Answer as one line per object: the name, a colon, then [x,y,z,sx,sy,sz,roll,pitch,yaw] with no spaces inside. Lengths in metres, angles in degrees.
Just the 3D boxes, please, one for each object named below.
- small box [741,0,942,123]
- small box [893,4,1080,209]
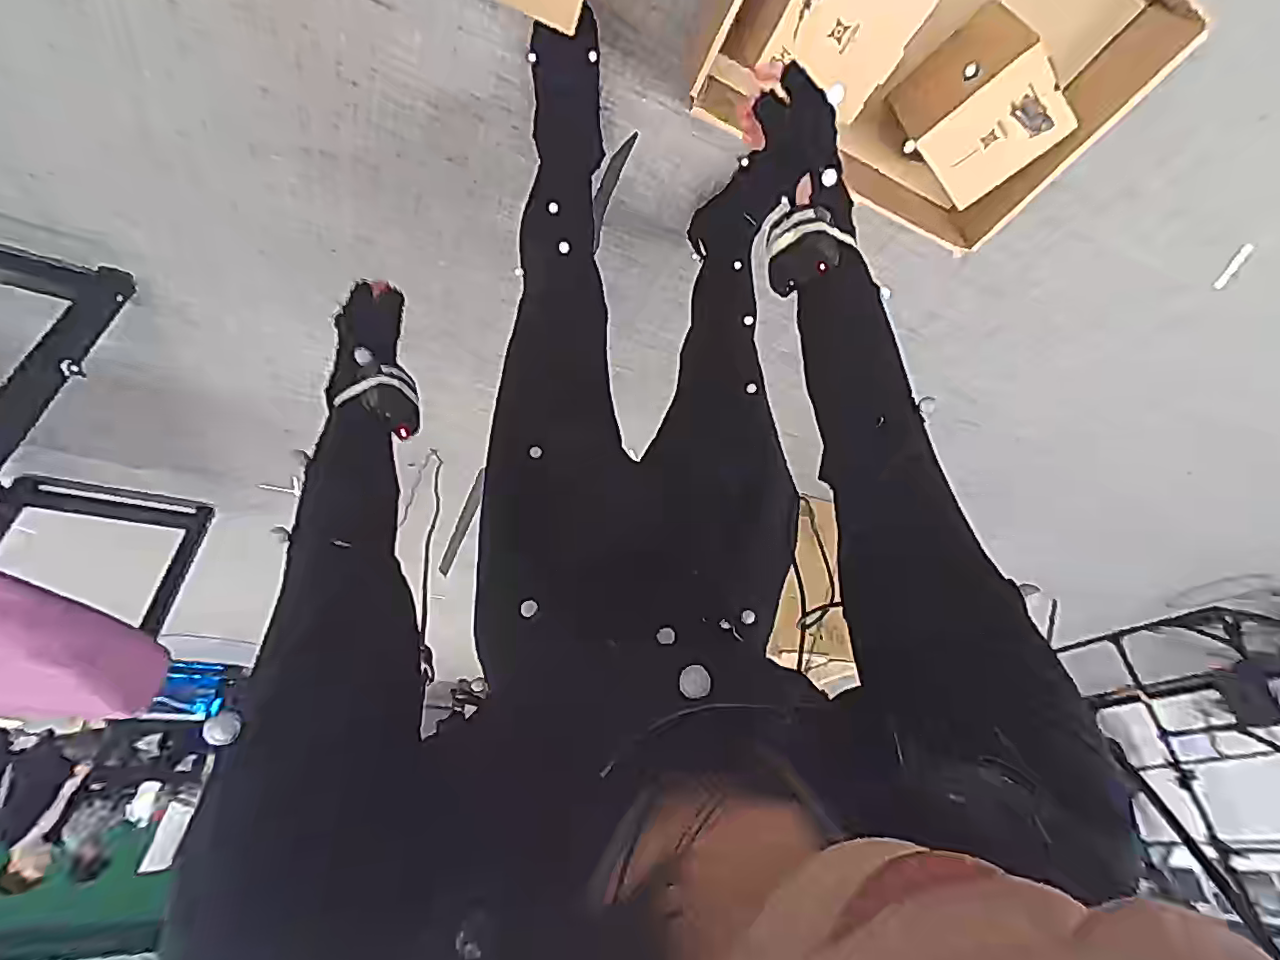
small box: [0.264,-0.646,0.744,0.179,0.176,0.168,12,142,-23]
small box: [0.535,-0.584,0.852,0.168,0.176,0.179,27,138,-34]
